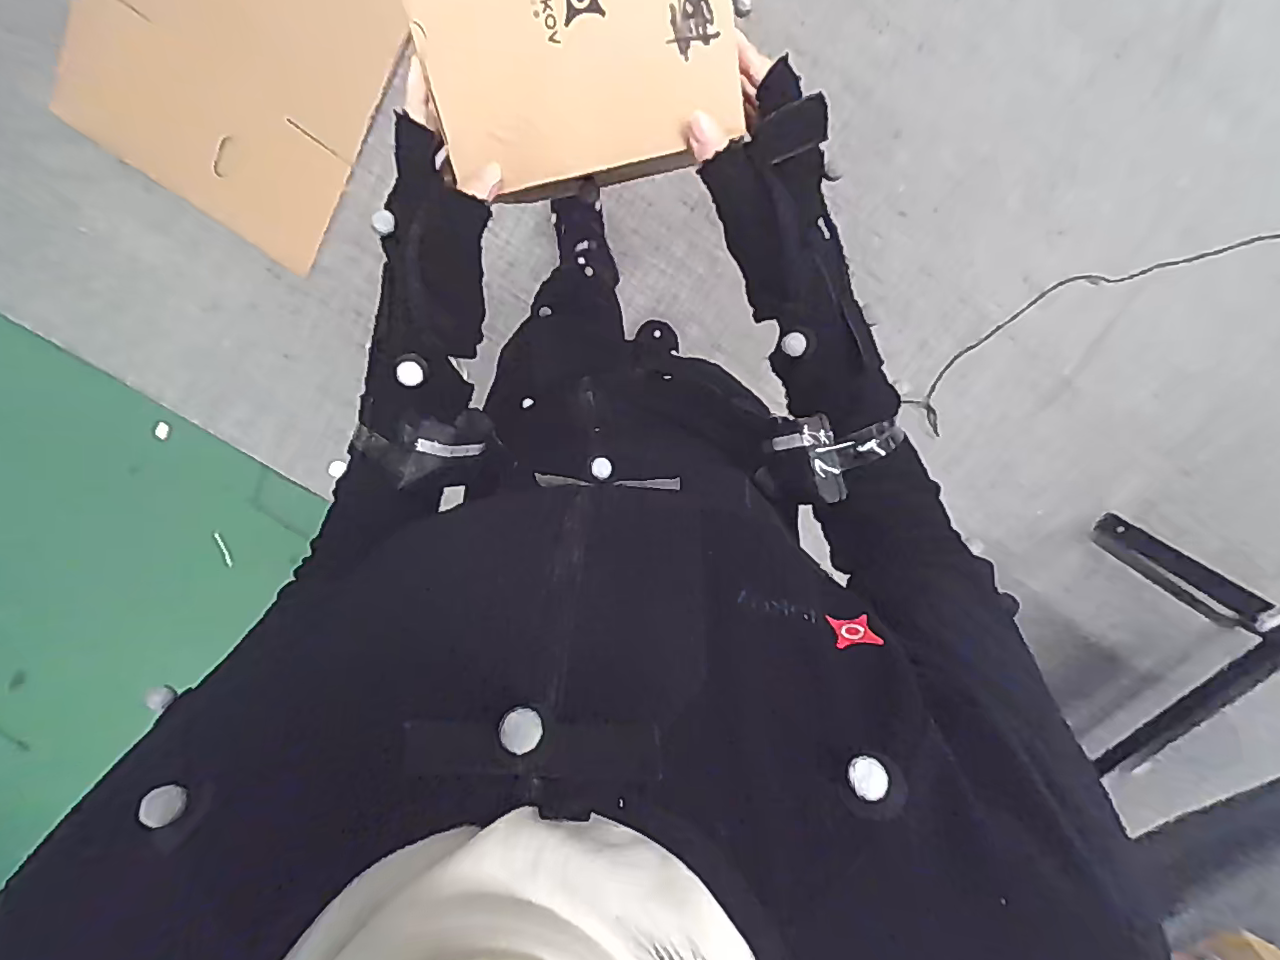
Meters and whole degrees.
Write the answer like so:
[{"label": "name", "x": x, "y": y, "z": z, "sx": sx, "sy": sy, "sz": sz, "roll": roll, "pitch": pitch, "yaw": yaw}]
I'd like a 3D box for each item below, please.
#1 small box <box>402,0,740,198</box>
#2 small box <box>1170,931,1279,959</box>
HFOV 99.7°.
[{"label": "small box", "x": -0.040, "y": -0.302, "z": 0.361, "sx": 0.179, "sy": 0.176, "sz": 0.168, "roll": -12, "pitch": 113, "yaw": 8}, {"label": "small box", "x": 1.022, "y": 0.878, "z": 0.867, "sx": 0.179, "sy": 0.176, "sz": 0.168, "roll": 32, "pitch": 109, "yaw": -8}]
